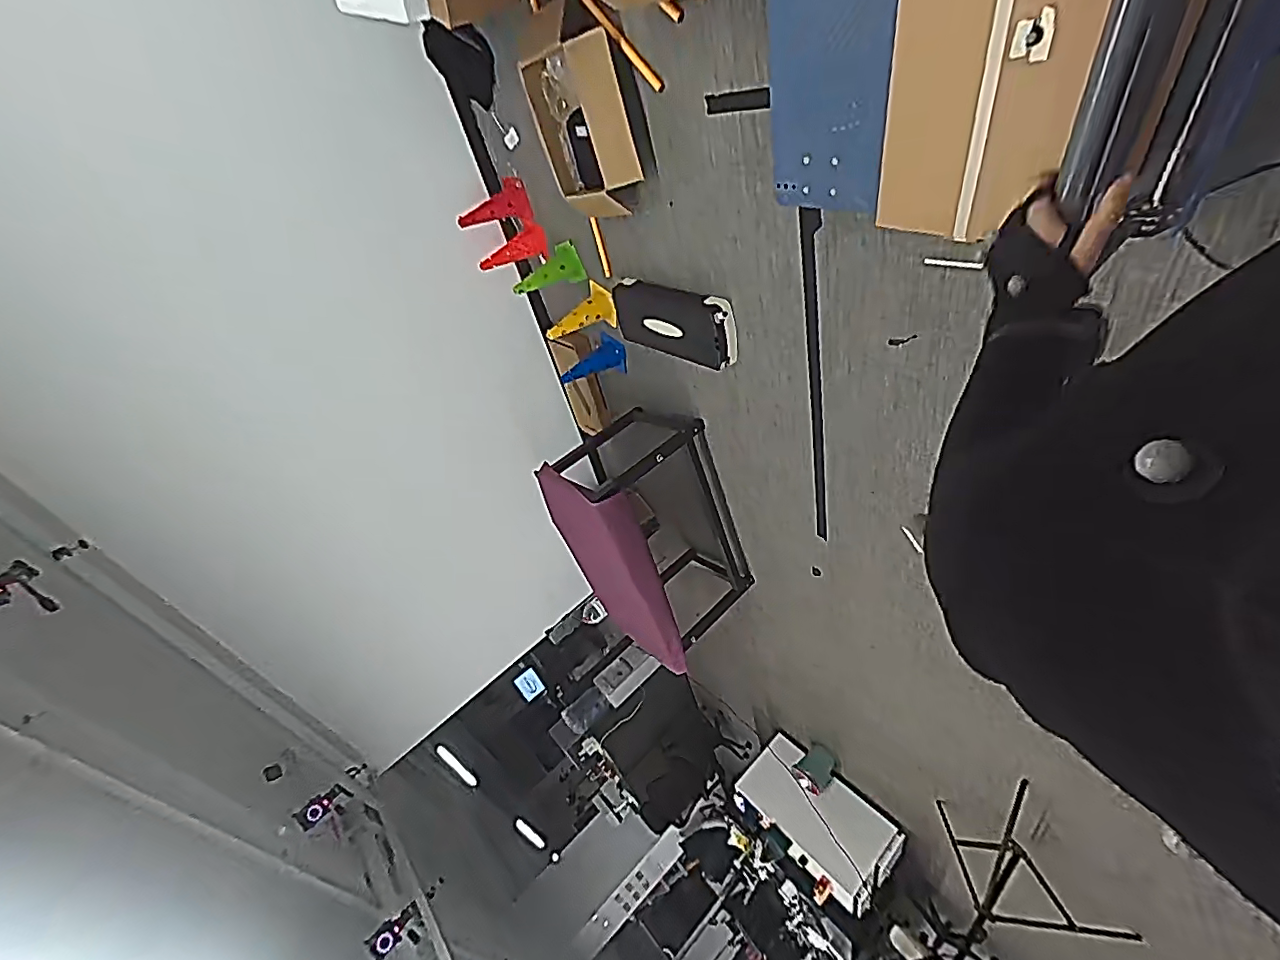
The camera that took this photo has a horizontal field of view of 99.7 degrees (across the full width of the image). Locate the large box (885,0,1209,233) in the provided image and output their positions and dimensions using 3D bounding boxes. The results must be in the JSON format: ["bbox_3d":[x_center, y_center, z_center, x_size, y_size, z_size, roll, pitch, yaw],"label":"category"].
[{"bbox_3d":[0.631,-0.657,0.849,0.320,0.320,0.408,31,147,39],"label":"large box"}]
